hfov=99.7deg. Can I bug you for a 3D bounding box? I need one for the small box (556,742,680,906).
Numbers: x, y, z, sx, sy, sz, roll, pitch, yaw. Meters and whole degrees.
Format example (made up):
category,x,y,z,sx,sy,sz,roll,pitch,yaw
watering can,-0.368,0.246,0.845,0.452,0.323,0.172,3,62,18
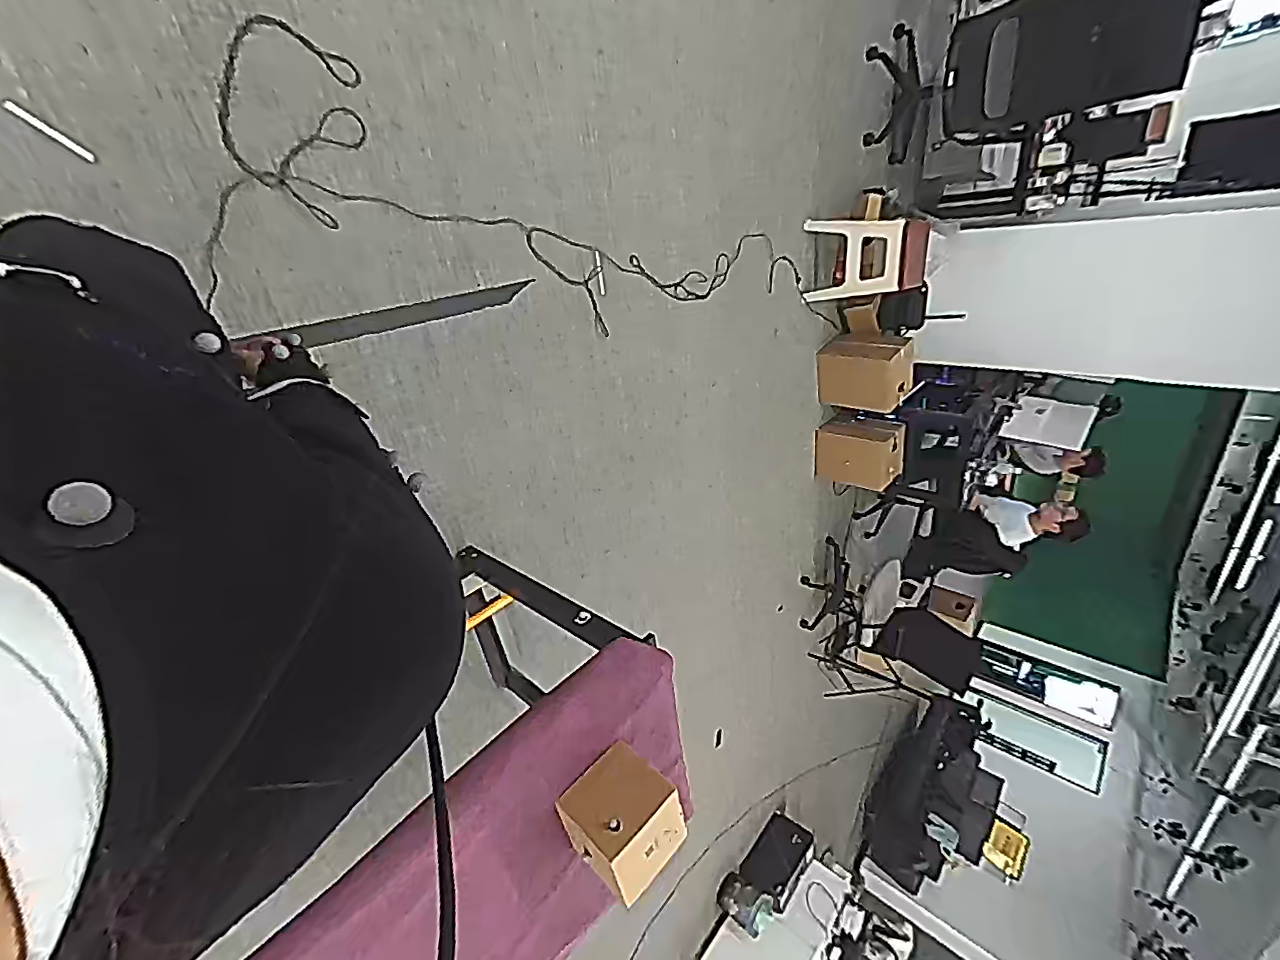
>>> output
category,x,y,z,sx,sy,sz,roll,pitch,yaw
small box,-0.048,0.668,1.069,0.179,0.176,0.168,-32,125,-35
